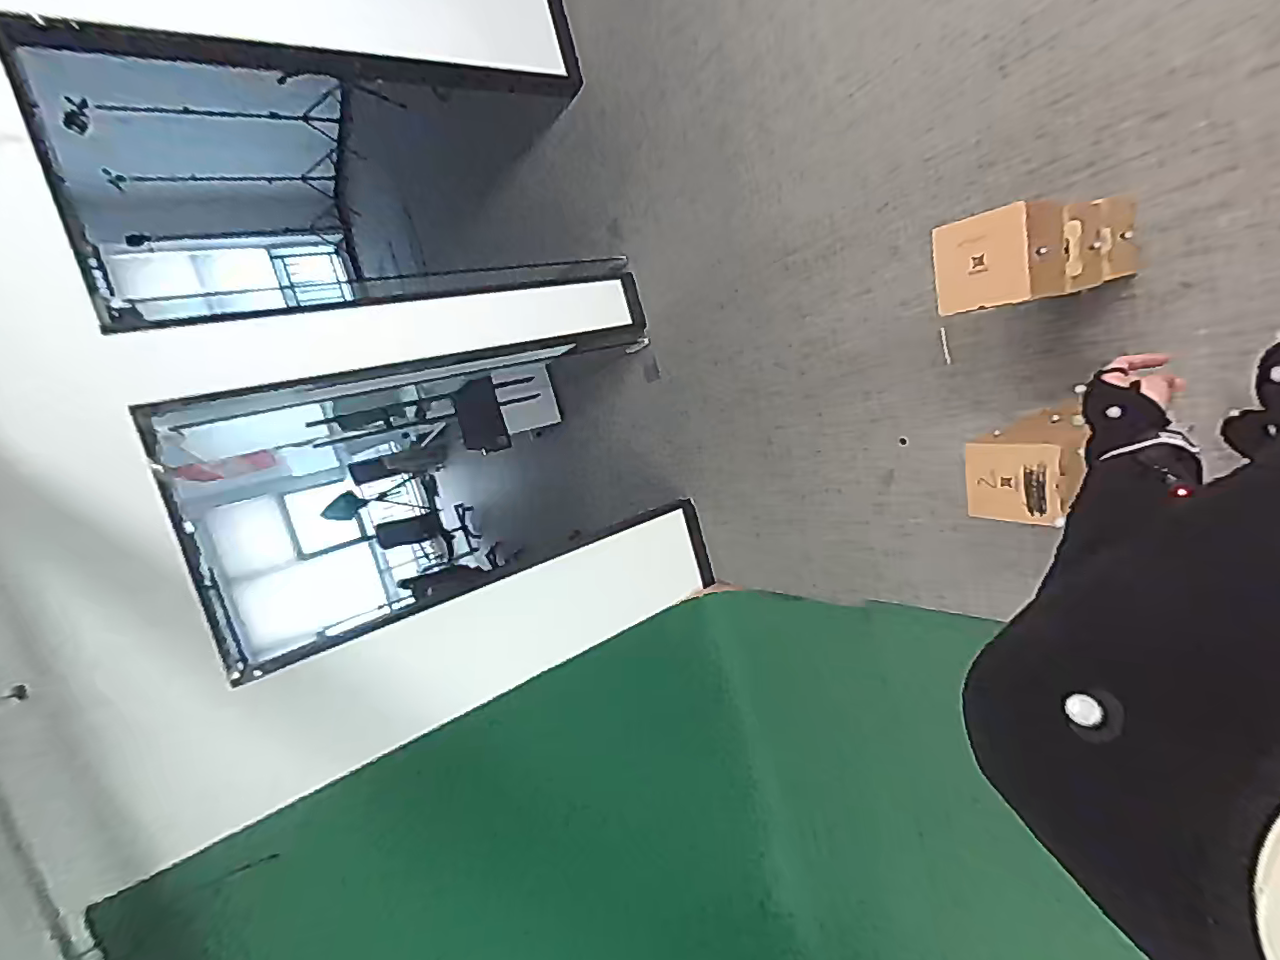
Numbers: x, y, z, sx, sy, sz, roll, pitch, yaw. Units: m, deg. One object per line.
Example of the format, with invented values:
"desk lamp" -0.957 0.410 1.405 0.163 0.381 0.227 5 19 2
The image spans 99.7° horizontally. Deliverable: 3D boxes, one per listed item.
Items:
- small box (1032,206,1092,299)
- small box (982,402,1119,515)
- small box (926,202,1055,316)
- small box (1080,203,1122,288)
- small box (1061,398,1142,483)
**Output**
"small box" 0.832 -0.475 1.162 0.179 0.176 0.168 8 113 56
"small box" 0.938 -0.055 1.236 0.168 0.176 0.179 42 139 36
"small box" 0.699 -0.437 1.075 0.168 0.176 0.179 7 112 55
"small box" 0.971 -0.519 1.239 0.179 0.176 0.168 1 106 56
"small box" 1.073 -0.099 1.301 0.179 0.176 0.168 6 111 57
